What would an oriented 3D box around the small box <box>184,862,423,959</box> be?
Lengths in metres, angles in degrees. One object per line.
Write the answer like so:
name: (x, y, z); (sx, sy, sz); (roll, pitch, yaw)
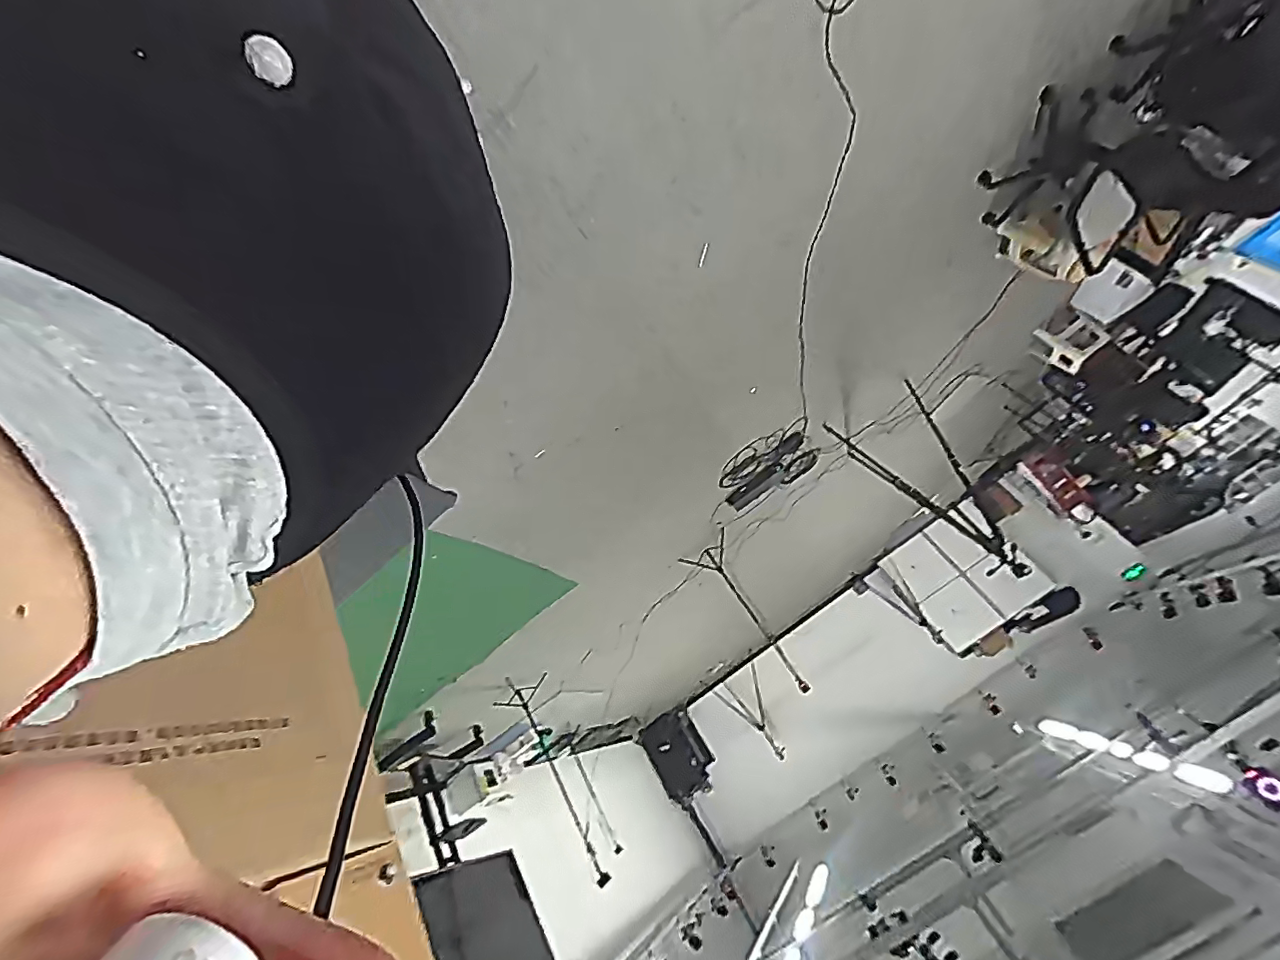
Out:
small box: (-0.358, 0.540, 0.568); (0.179, 0.176, 0.168); (-37, 151, 6)
